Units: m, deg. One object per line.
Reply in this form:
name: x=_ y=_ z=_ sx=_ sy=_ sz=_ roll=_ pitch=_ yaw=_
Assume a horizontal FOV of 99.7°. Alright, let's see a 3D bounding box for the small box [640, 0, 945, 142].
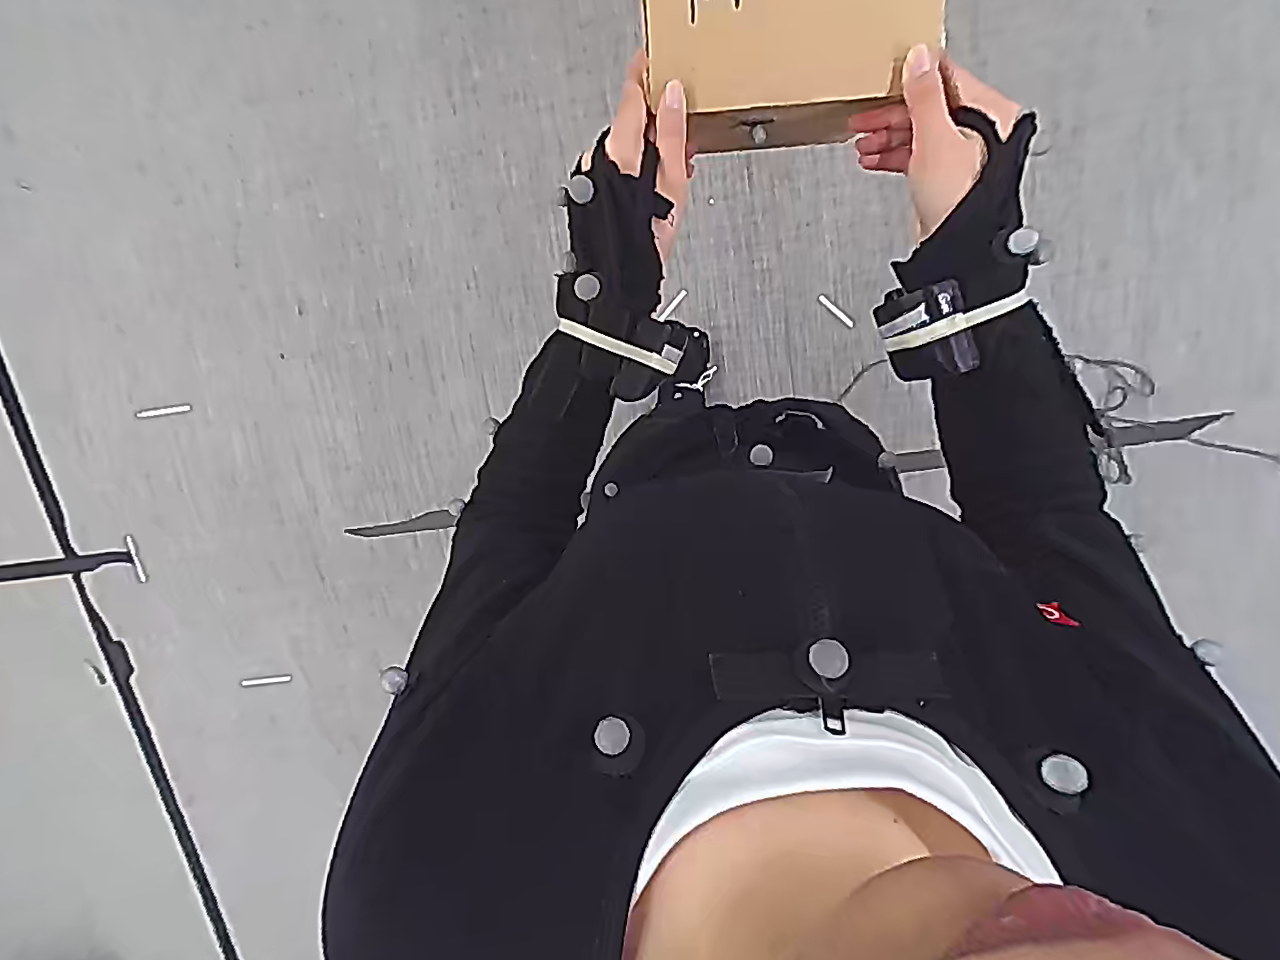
small box: x=0.087 y=-0.344 z=0.369 sx=0.179 sy=0.176 sz=0.168 roll=-3 pitch=113 yaw=2
